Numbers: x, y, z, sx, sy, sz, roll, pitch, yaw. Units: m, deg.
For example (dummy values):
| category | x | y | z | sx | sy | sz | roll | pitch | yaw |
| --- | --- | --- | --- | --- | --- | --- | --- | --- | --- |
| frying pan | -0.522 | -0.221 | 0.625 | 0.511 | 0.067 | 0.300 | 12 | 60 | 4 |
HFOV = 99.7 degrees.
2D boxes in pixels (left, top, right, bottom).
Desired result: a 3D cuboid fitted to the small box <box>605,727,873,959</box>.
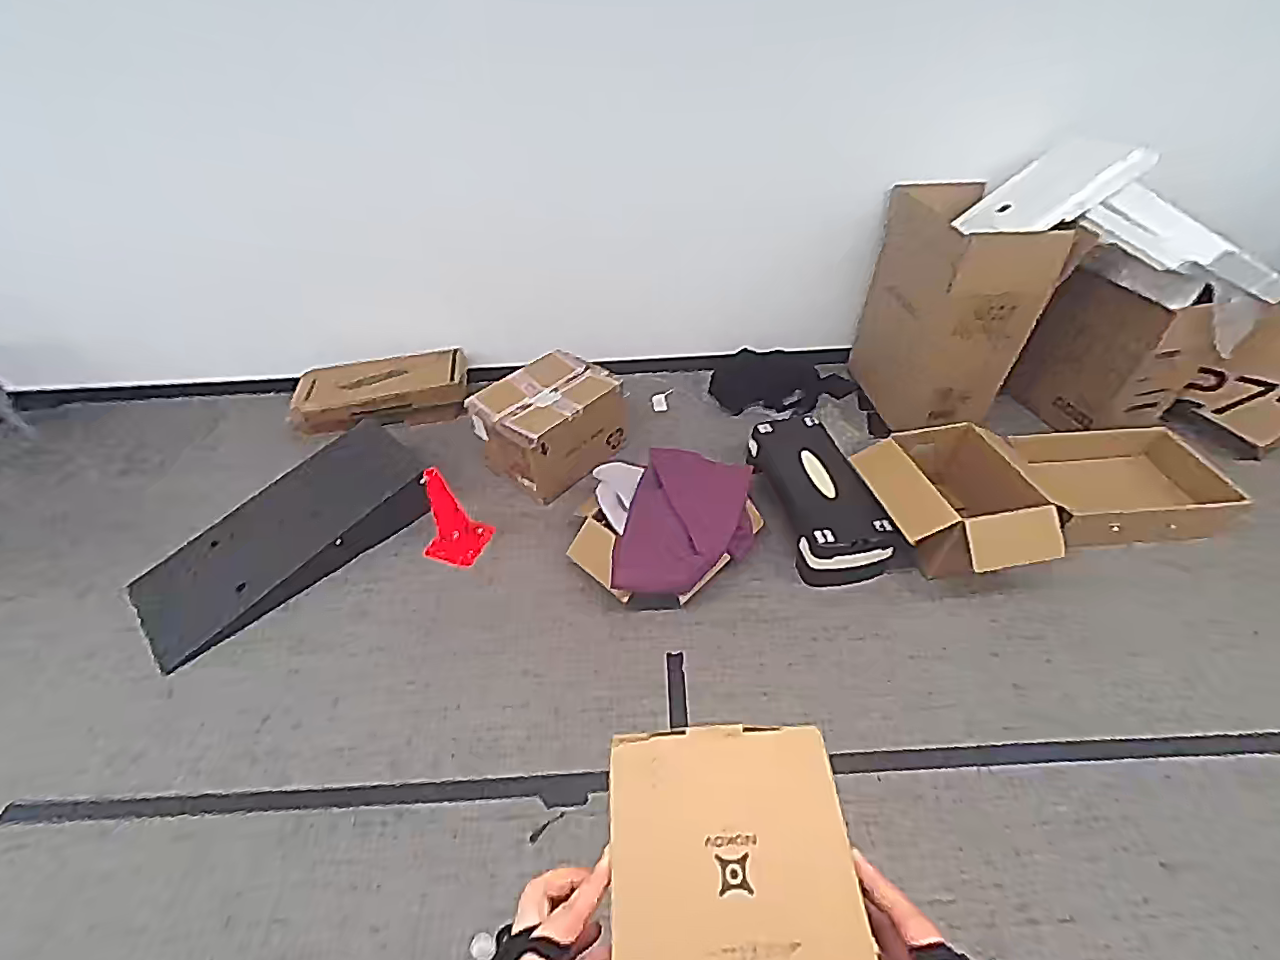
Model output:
| category | x | y | z | sx | sy | sz | roll | pitch | yaw |
| --- | --- | --- | --- | --- | --- | --- | --- | --- | --- |
| small box | 0.058 | 0.310 | 0.418 | 0.168 | 0.176 | 0.179 | -2 | 49 | -1 |
